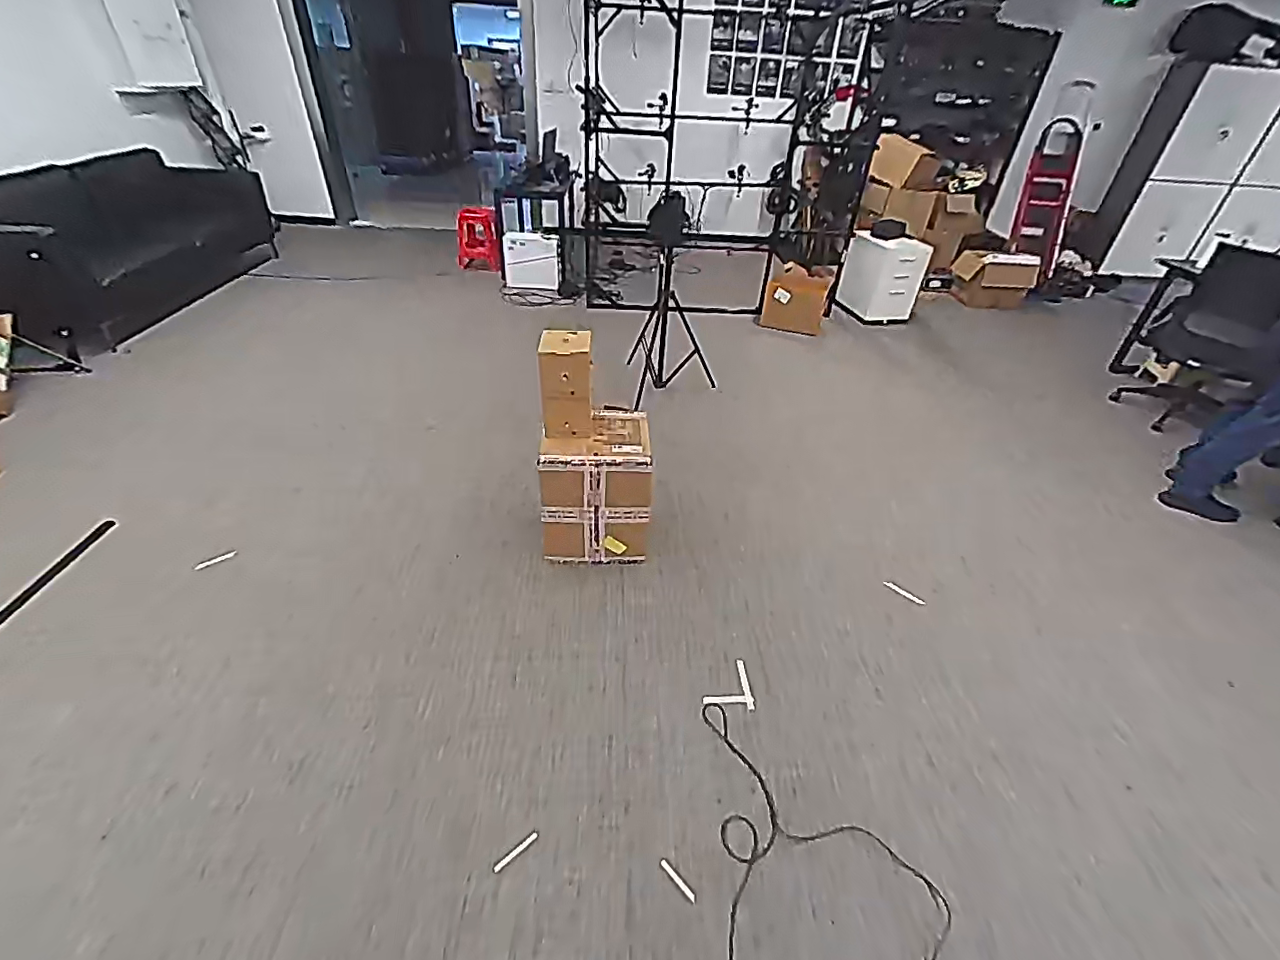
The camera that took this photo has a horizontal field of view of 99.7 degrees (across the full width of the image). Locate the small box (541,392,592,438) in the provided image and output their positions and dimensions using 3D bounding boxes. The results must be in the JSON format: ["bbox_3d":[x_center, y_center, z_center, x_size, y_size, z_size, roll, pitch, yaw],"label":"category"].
[{"bbox_3d":[-0.260,-0.267,1.949,0.168,0.176,0.179,-2,39,-3],"label":"small box"}]

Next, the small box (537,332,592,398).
[{"bbox_3d":[-0.251,-0.390,1.840,0.168,0.176,0.179,-1,40,-2],"label":"small box"}]
